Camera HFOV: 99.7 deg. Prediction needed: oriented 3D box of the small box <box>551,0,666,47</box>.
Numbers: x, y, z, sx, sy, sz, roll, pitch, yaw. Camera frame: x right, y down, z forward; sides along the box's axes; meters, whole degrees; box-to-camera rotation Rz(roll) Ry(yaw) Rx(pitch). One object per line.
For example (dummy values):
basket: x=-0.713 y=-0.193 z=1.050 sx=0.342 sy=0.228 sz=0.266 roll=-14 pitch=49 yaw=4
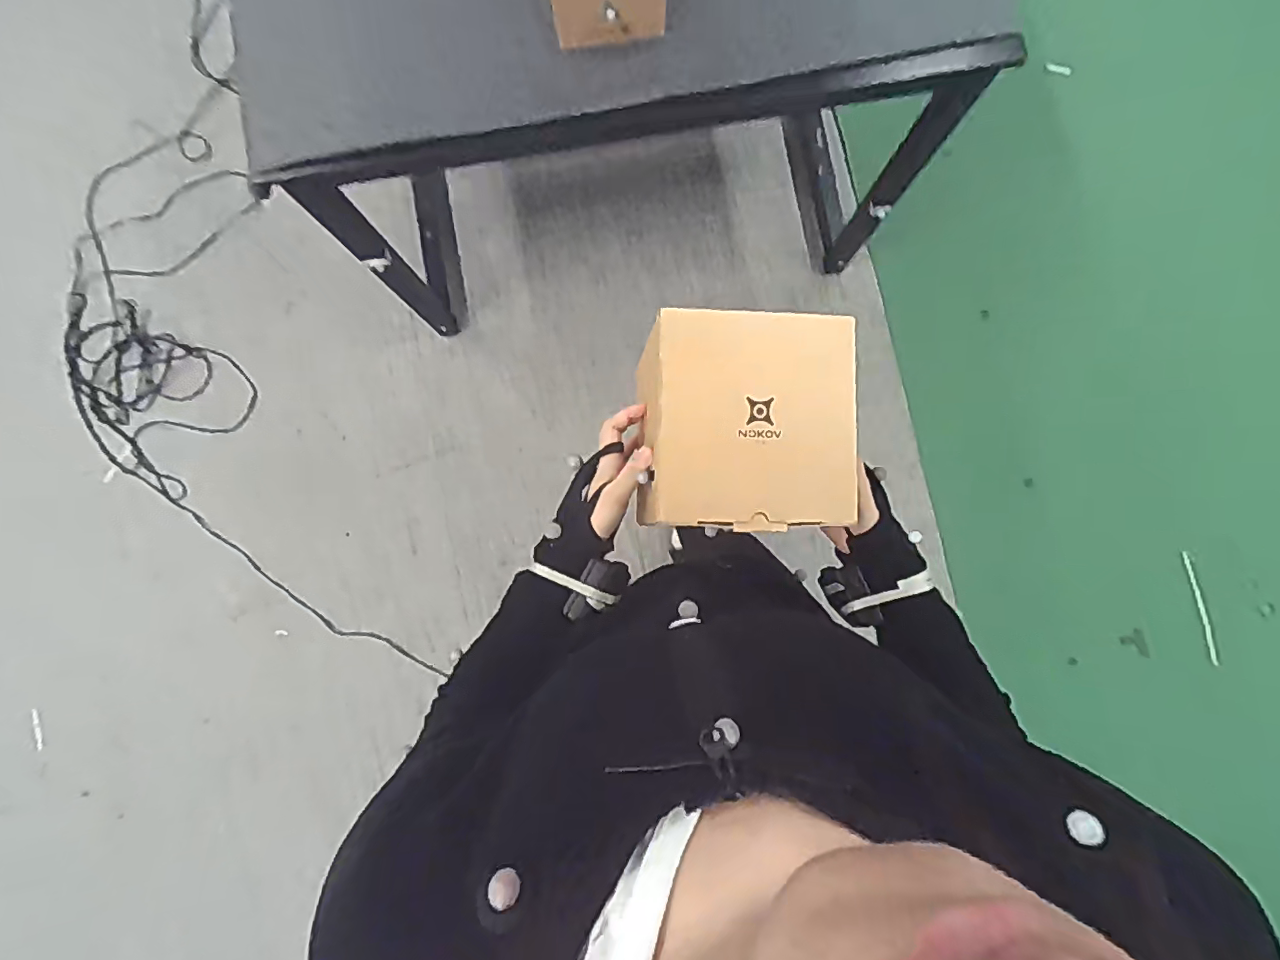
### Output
small box: x=-0.055 y=-0.764 z=0.757 sx=0.168 sy=0.176 sz=0.179 roll=-8 pitch=84 yaw=0

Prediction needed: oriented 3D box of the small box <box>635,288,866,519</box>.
small box: x=0.085 y=-0.054 z=0.497 sx=0.168 sy=0.176 sz=0.179 roll=0 pitch=85 yaw=-6
